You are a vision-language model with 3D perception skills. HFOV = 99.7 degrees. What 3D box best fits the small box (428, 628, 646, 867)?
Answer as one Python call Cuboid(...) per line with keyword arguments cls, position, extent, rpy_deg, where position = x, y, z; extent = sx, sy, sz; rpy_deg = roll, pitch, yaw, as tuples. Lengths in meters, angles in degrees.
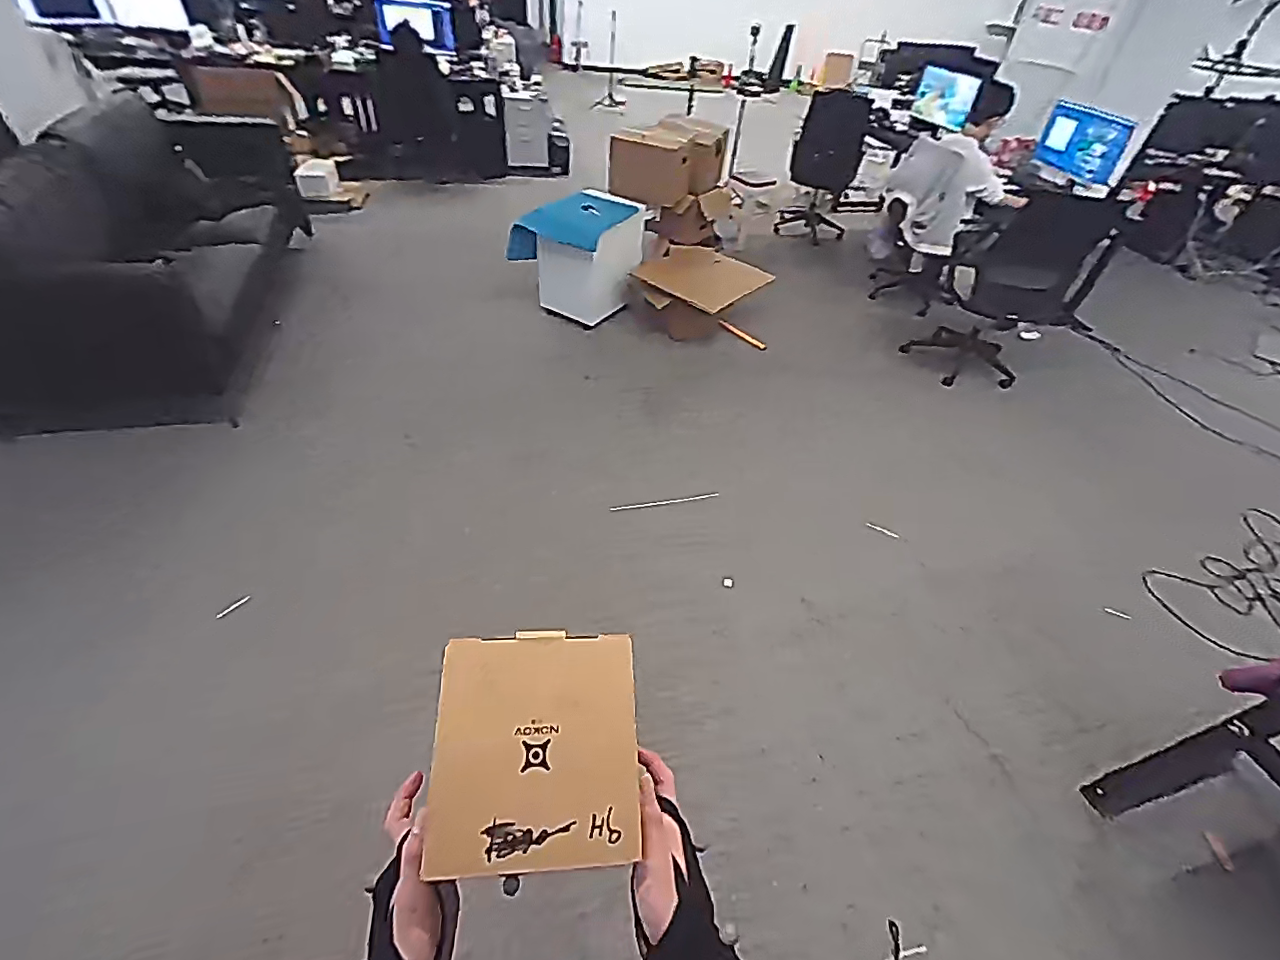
Cuboid(cls="small box", position=(-0.088, 0.251, 0.515), extent=(0.168, 0.176, 0.179), rpy_deg=(0, 60, -6))
